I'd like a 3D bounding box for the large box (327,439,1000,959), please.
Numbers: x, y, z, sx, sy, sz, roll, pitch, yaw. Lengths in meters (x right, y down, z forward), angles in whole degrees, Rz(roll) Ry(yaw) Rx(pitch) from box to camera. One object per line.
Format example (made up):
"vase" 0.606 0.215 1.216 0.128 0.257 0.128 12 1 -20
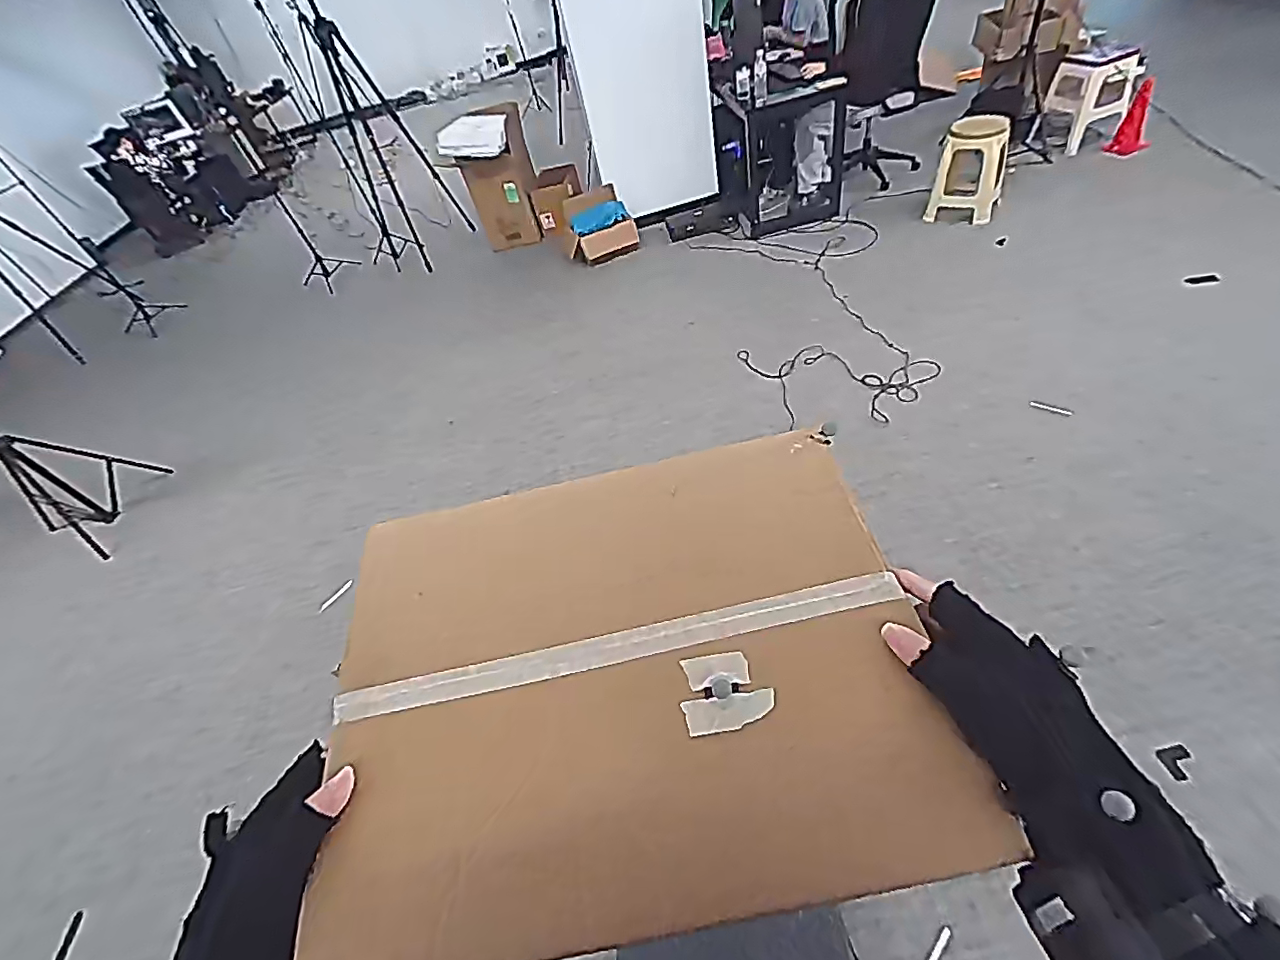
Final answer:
"large box" 0.008 0.213 0.513 0.408 0.320 0.320 -12 53 1
